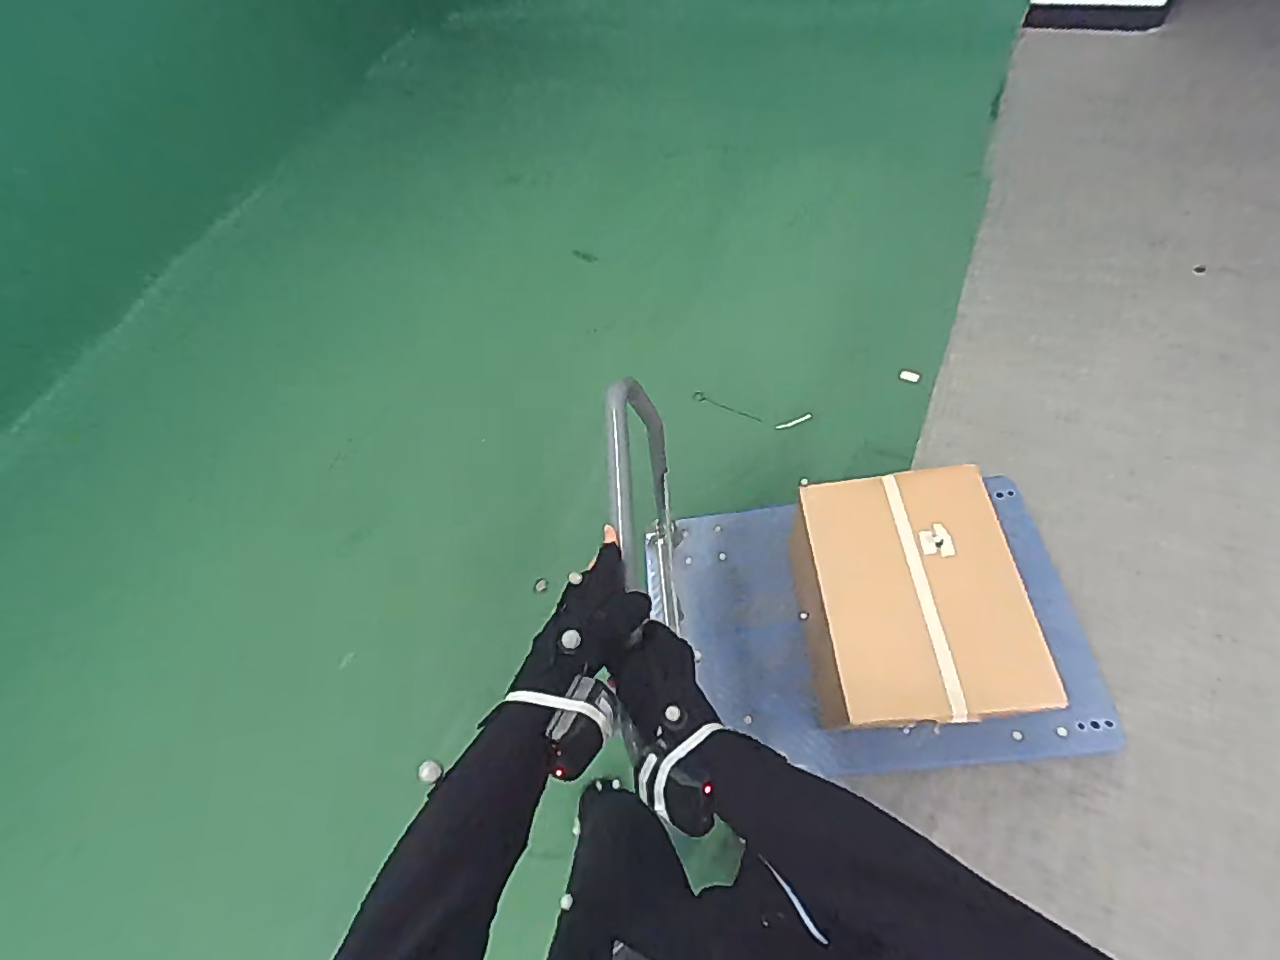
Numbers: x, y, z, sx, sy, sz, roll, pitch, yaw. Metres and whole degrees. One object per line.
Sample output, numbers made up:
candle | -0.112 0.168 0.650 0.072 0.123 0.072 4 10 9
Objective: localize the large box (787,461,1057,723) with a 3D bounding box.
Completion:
large box | 0.480 0.228 1.034 0.320 0.320 0.408 -8 62 7
